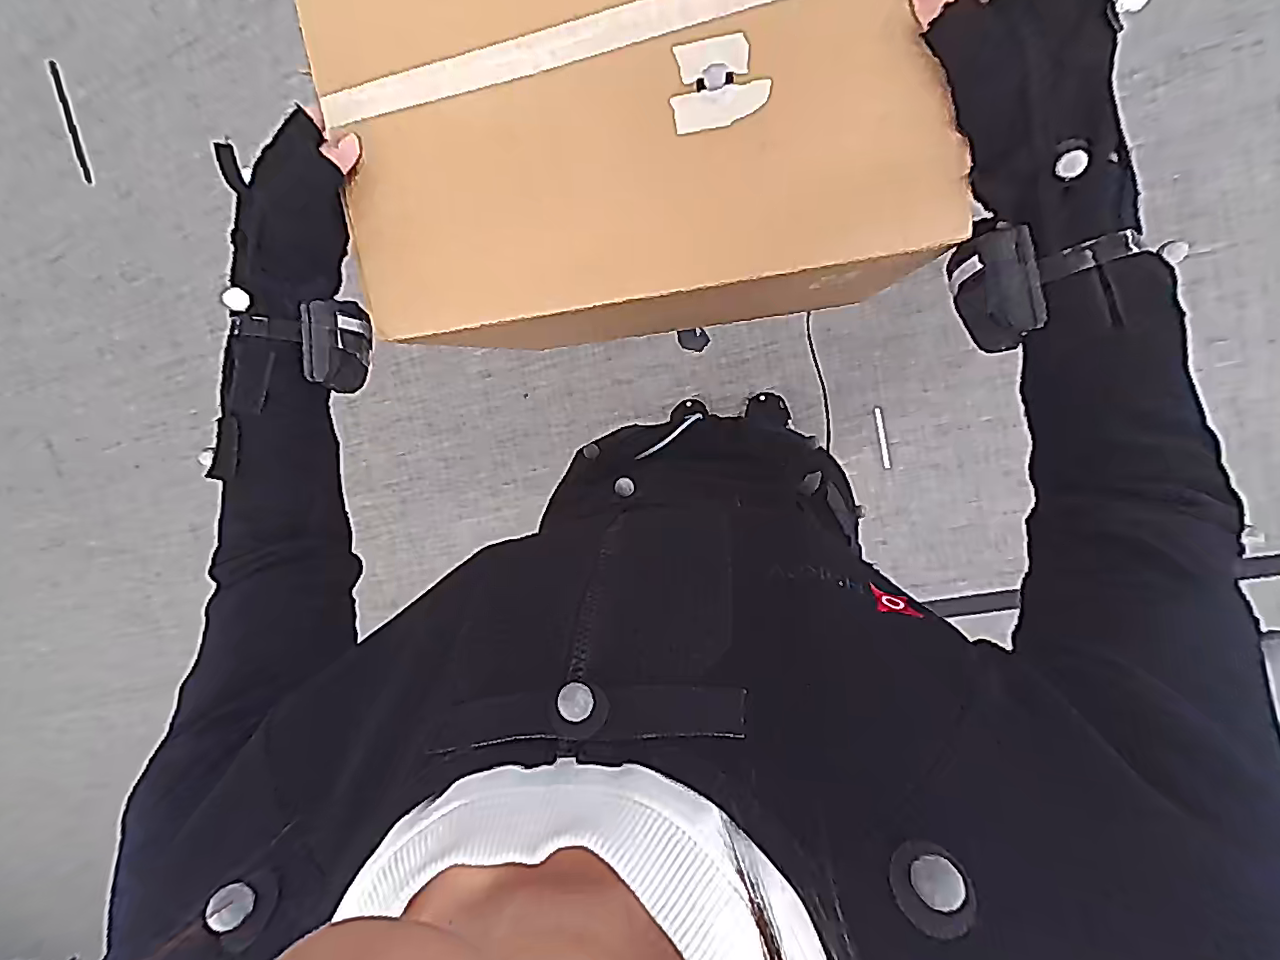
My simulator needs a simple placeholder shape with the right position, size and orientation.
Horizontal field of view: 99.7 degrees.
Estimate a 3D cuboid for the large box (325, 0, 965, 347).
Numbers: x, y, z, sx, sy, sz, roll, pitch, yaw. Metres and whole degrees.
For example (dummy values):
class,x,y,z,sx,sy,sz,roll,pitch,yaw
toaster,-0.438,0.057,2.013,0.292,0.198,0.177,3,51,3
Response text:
class,x,y,z,sx,sy,sz,roll,pitch,yaw
large box,0.011,-0.313,0.488,0.408,0.320,0.320,-6,101,12
